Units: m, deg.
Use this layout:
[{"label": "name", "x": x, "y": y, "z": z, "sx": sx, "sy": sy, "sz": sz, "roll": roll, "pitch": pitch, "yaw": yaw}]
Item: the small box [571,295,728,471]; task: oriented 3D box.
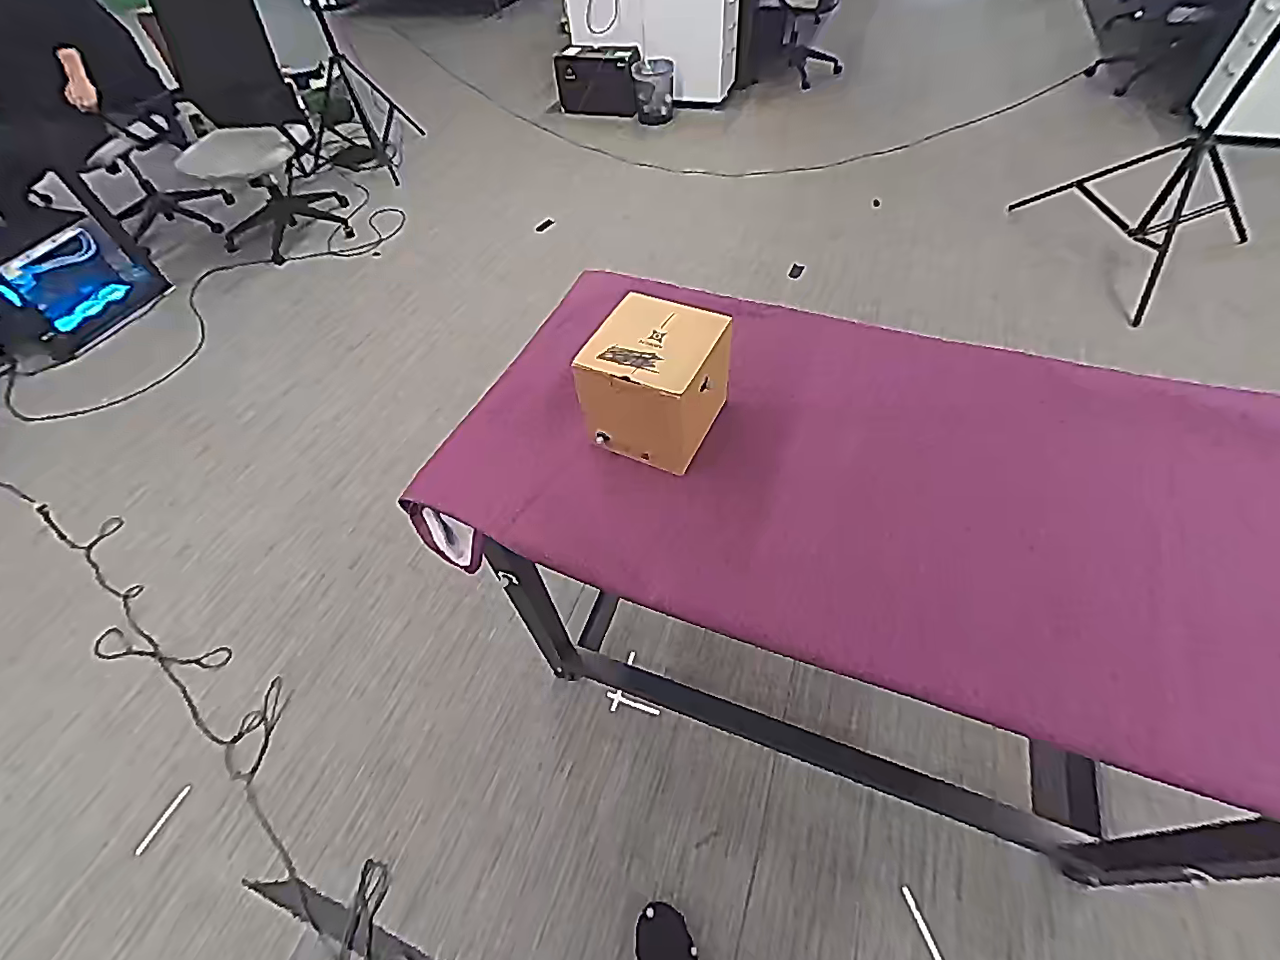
[{"label": "small box", "x": 0.022, "y": -0.141, "z": 0.810, "sx": 0.168, "sy": 0.176, "sz": 0.179, "roll": 20, "pitch": 57, "yaw": 18}]
